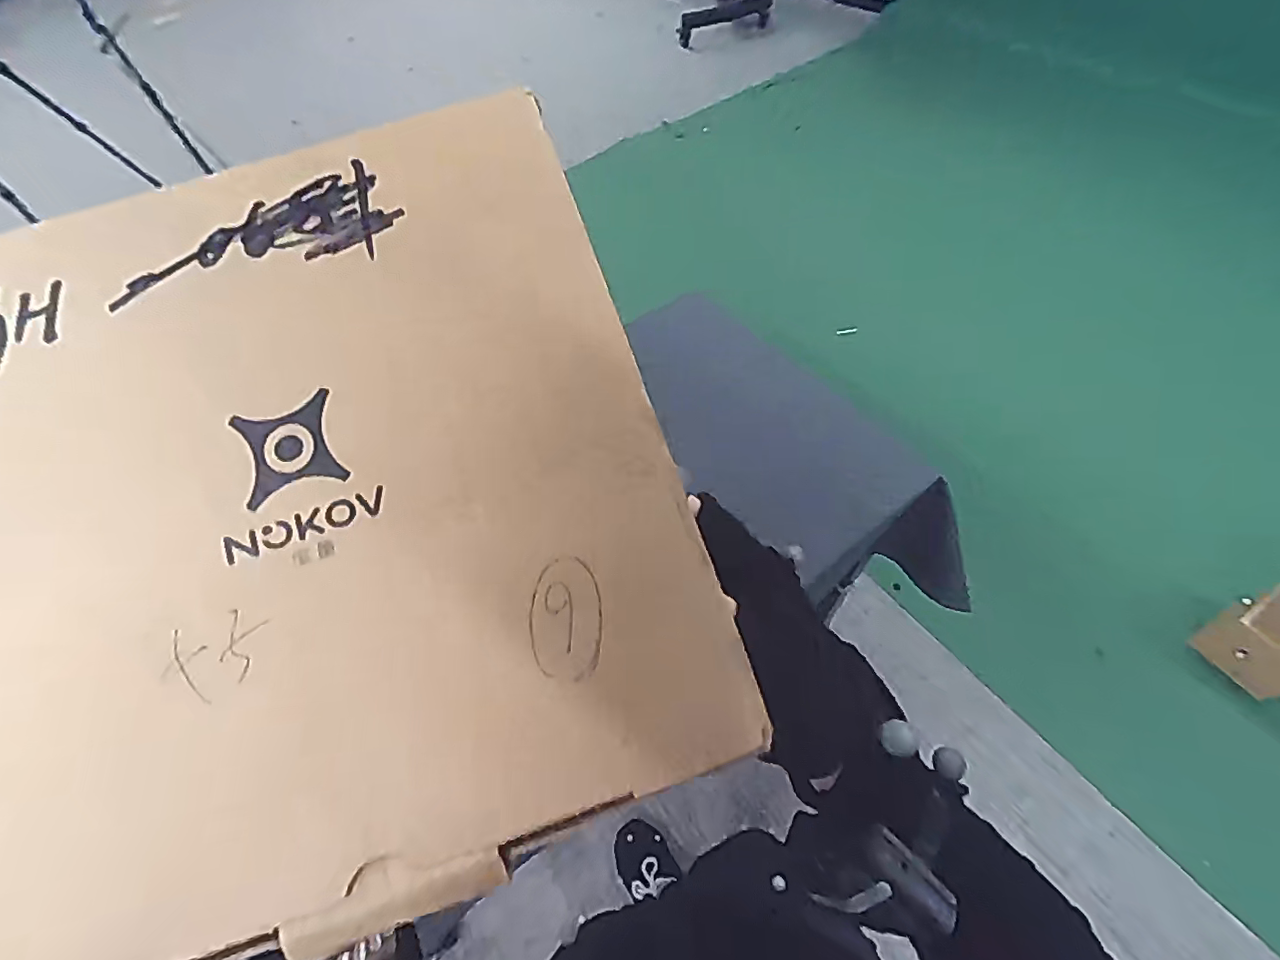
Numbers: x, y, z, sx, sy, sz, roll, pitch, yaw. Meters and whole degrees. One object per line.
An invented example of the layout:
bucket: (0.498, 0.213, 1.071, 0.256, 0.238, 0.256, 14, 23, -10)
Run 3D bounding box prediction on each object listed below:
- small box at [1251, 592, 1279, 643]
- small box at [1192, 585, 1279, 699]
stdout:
small box: (1.455, 0.290, 1.114, 0.168, 0.176, 0.179, -30, 59, -14)
small box: (1.456, 0.380, 1.252, 0.179, 0.176, 0.168, -29, 58, -13)
